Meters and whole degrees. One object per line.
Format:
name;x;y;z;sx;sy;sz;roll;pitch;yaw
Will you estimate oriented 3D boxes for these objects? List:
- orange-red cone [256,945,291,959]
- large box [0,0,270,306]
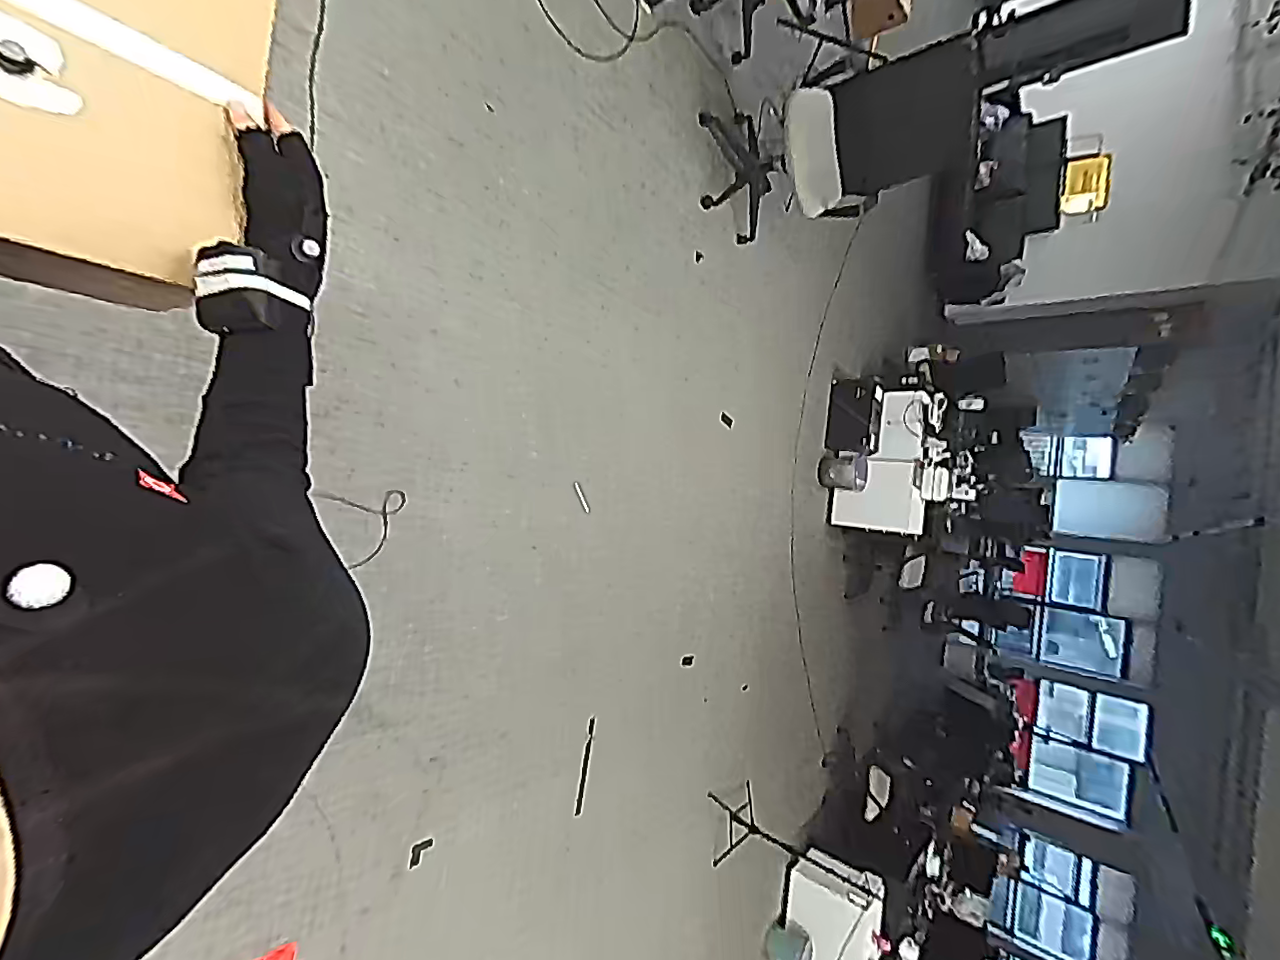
orange-red cone;-0.856;1.316;1.243;0.198;0.360;0.199;7;87;-52
large box;-0.566;-0.344;0.396;0.408;0.320;0.320;6;95;-53
